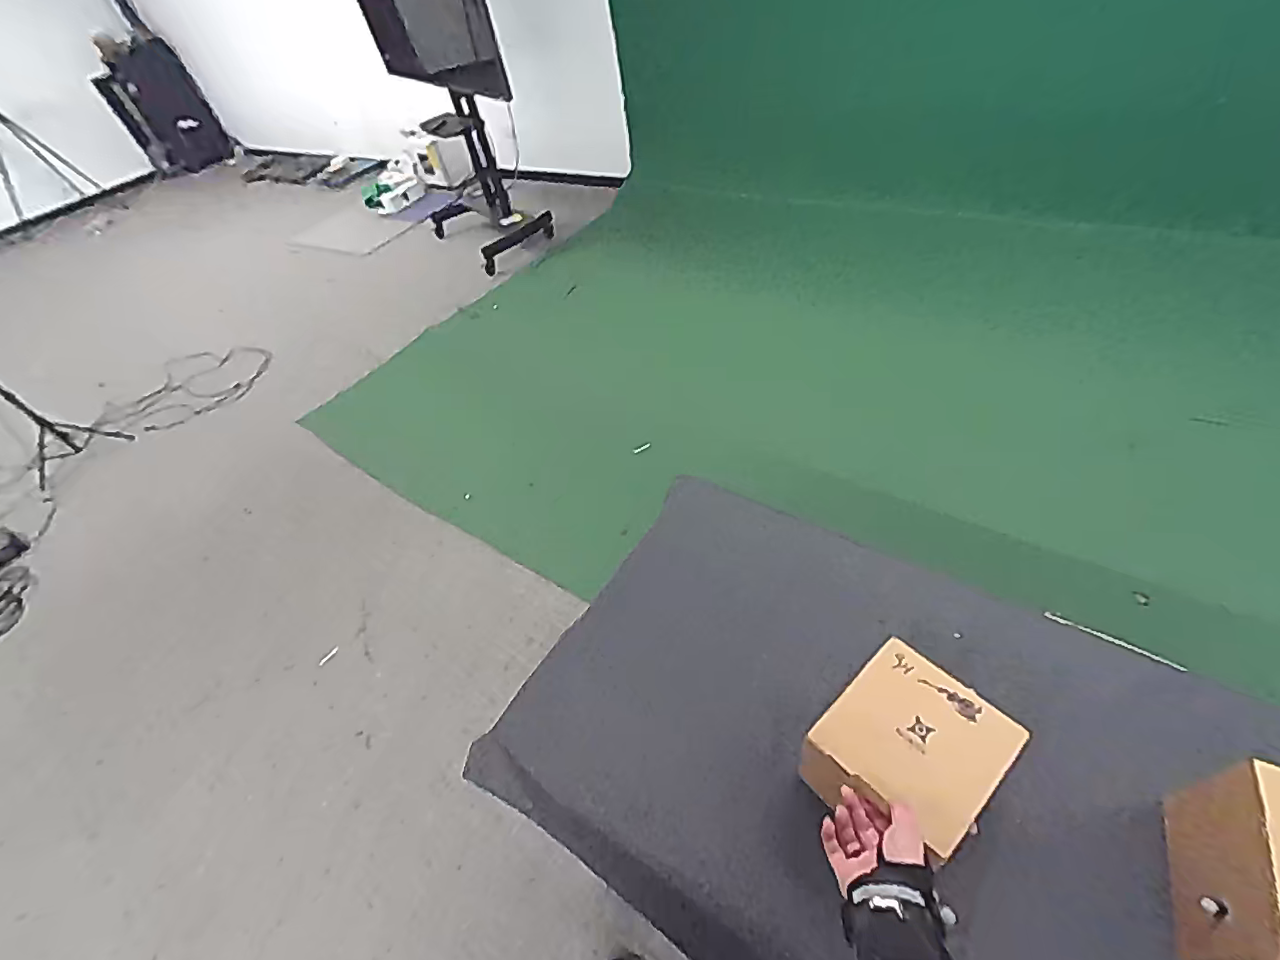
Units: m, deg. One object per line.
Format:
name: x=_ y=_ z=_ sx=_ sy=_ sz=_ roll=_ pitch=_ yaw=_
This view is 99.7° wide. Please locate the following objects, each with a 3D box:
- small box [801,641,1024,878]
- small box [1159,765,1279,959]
small box: x=0.316 y=0.342 z=0.661 sx=0.179 sy=0.176 sz=0.168 roll=-36 pitch=51 yaw=-21
small box: x=0.651 y=0.419 z=0.519 sx=0.168 sy=0.176 sz=0.179 roll=16 pitch=52 yaw=23
